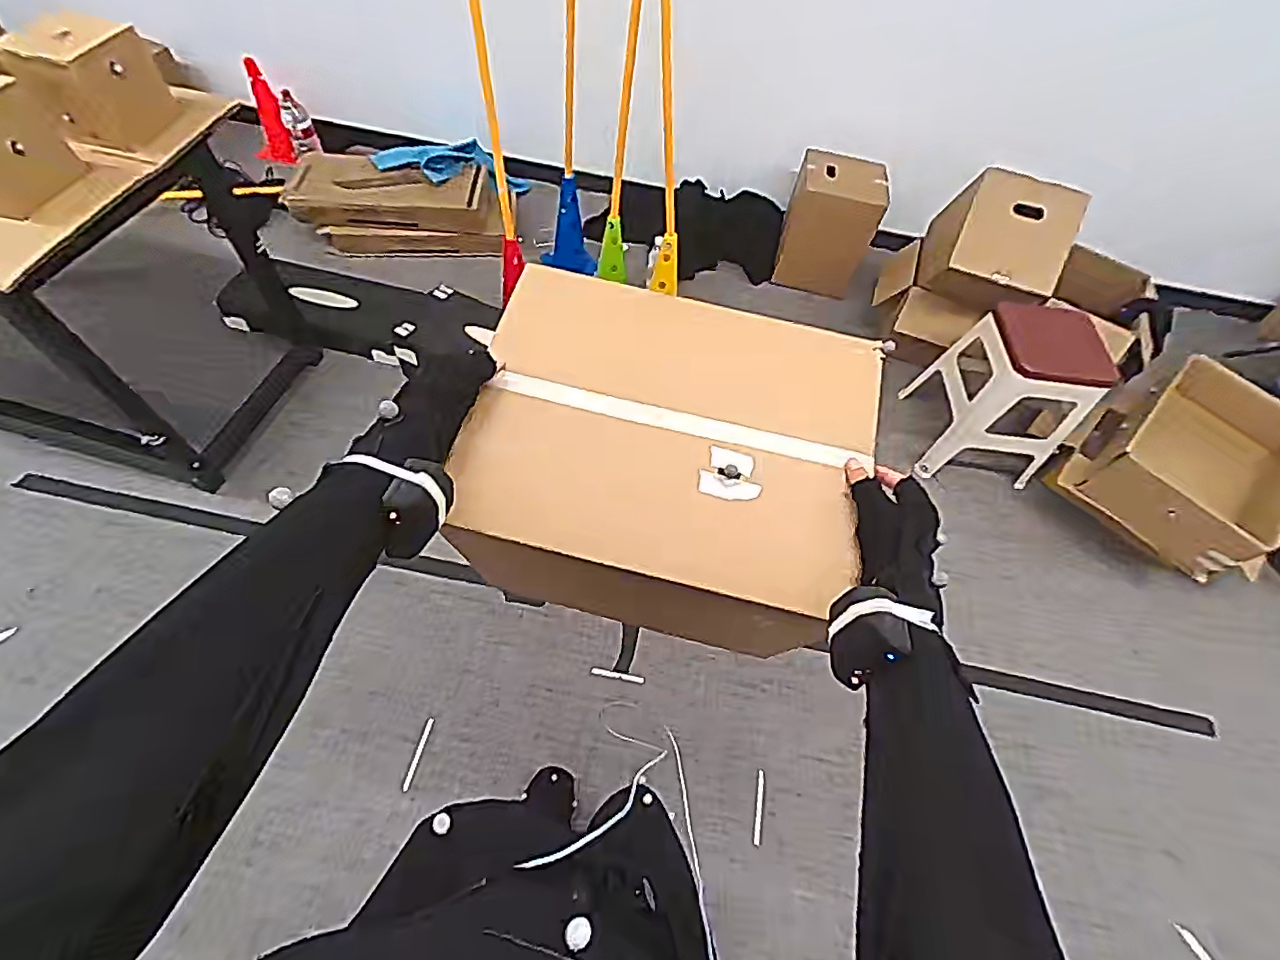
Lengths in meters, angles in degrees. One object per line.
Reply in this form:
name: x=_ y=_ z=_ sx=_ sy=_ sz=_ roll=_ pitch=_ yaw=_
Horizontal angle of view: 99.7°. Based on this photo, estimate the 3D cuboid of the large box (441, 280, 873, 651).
large box: x=0.027 y=0.005 z=0.695 sx=0.408 sy=0.320 sz=0.320 roll=14 pitch=68 yaw=3
